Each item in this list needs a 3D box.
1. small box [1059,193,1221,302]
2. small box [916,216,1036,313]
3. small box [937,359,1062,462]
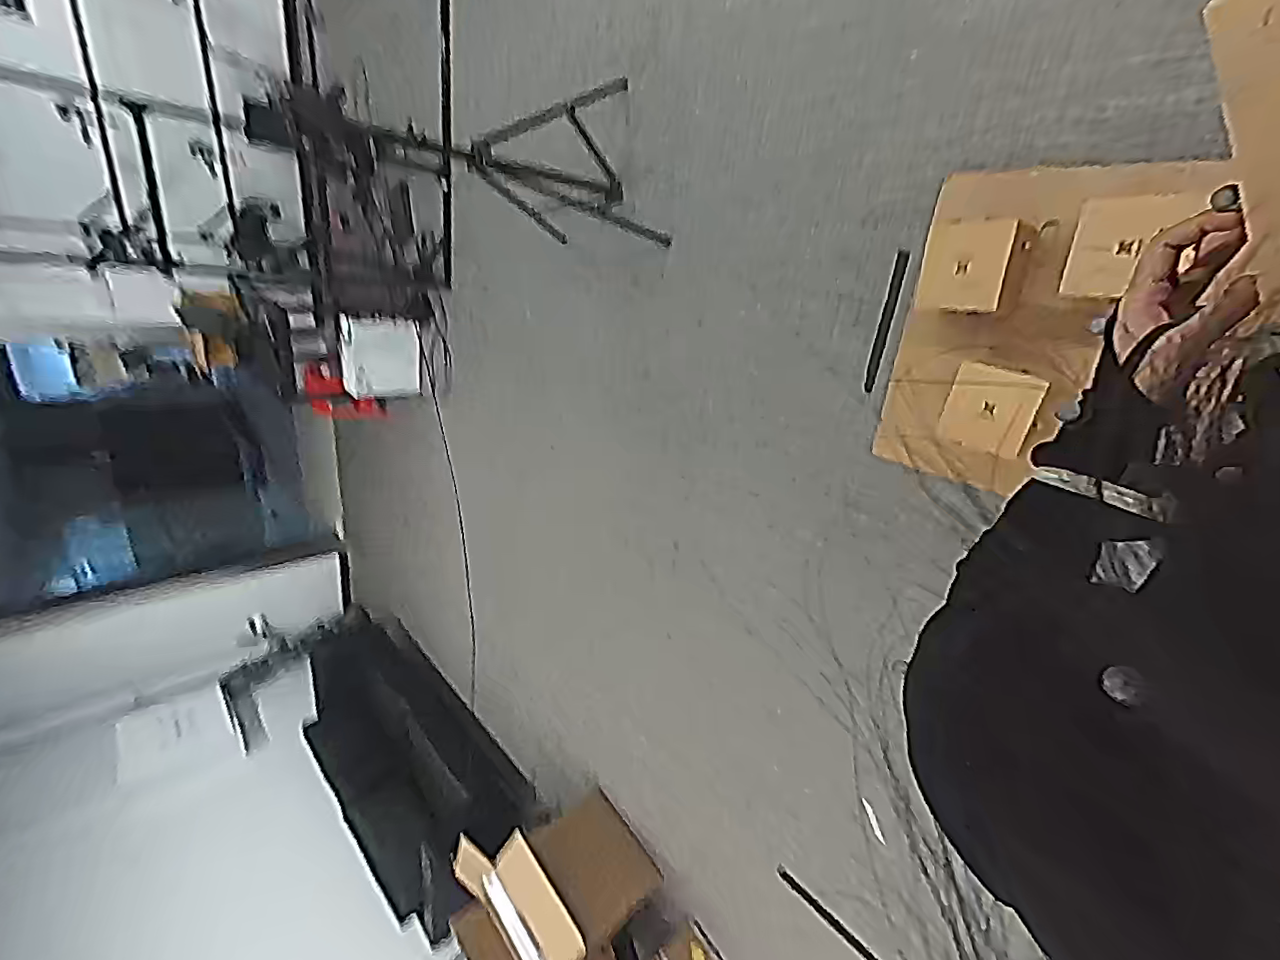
[{"bbox_3d":[0.910,-0.417,0.989,0.179,0.176,0.168,21,115,42],"label":"small box"},{"bbox_3d":[0.730,-0.459,1.172,0.168,0.176,0.179,19,115,43],"label":"small box"},{"bbox_3d":[0.790,-0.161,1.185,0.168,0.176,0.179,29,121,38],"label":"small box"}]
